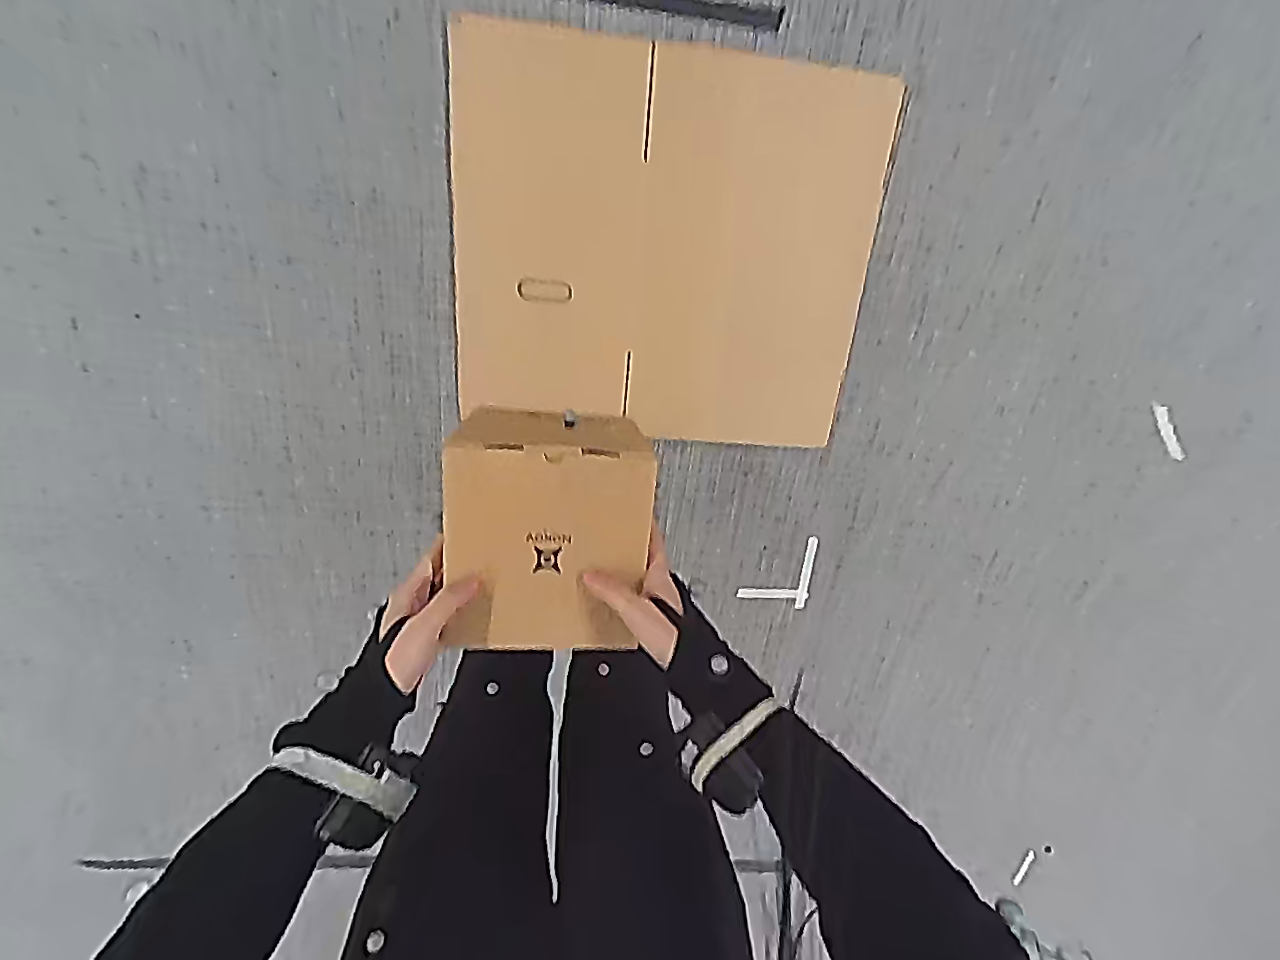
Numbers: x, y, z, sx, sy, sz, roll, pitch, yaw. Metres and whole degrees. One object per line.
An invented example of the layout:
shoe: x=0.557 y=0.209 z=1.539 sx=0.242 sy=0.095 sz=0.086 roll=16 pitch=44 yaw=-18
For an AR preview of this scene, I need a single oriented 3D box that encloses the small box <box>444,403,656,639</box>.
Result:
small box: x=-0.085 y=0.030 z=0.517 sx=0.168 sy=0.176 sz=0.179 roll=2 pitch=106 yaw=-9
